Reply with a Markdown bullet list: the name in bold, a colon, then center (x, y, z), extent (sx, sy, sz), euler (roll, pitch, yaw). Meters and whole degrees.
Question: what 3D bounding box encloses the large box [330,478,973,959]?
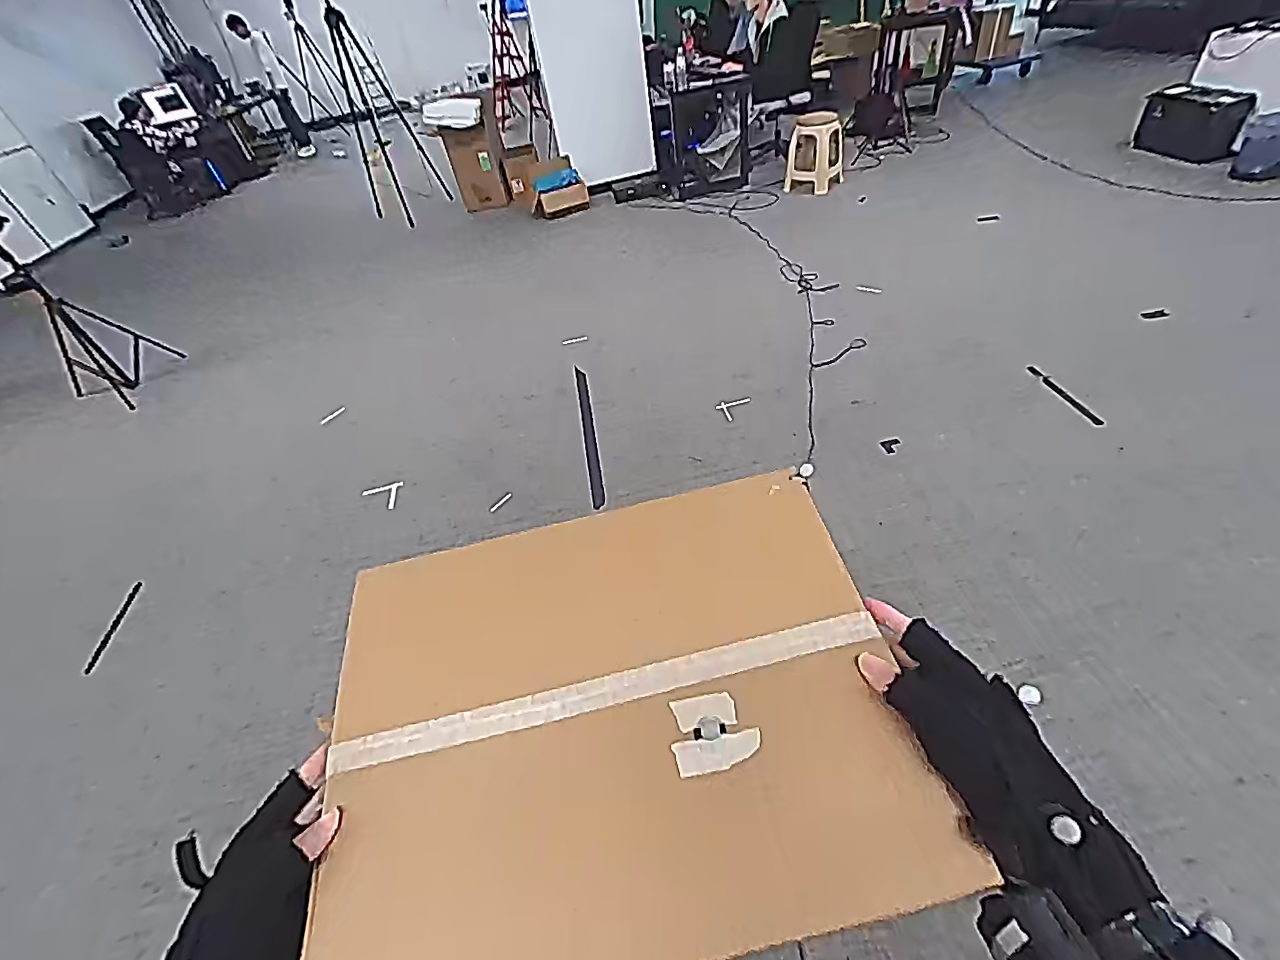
- **large box**: center (-0.004, 0.250, 0.524), extent (0.408, 0.320, 0.320), euler (-13, 52, -2)
